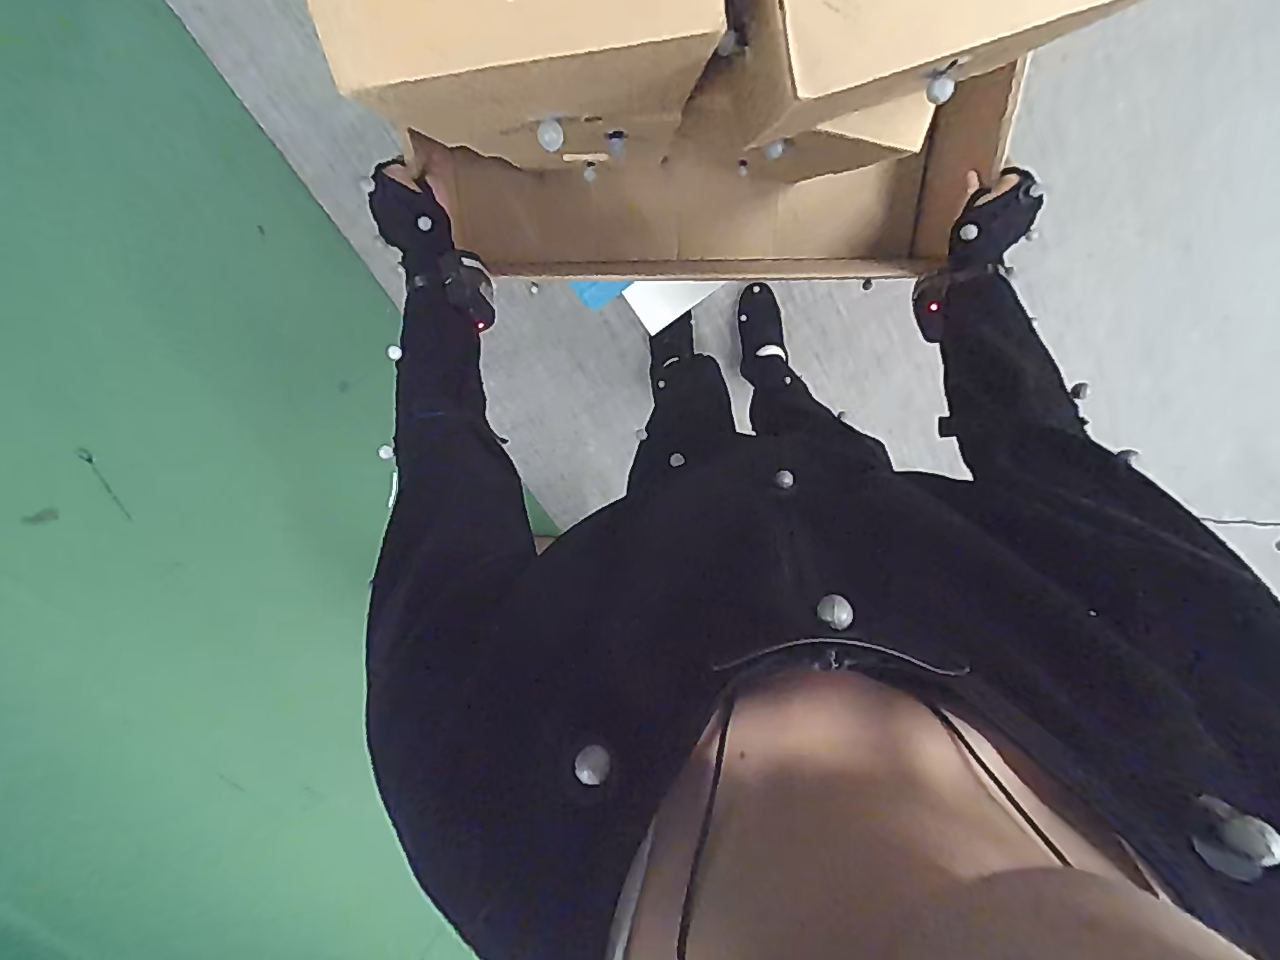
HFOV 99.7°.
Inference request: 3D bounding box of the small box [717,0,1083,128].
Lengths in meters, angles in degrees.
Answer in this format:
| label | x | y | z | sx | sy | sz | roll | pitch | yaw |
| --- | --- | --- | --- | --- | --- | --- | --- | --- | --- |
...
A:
| label | x | y | z | sx | sy | sz | roll | pitch | yaw |
| --- | --- | --- | --- | --- | --- | --- | --- | --- | --- |
| small box | 0.125 | -0.298 | 0.264 | 0.179 | 0.176 | 0.168 | -13 | 114 | 8 |
